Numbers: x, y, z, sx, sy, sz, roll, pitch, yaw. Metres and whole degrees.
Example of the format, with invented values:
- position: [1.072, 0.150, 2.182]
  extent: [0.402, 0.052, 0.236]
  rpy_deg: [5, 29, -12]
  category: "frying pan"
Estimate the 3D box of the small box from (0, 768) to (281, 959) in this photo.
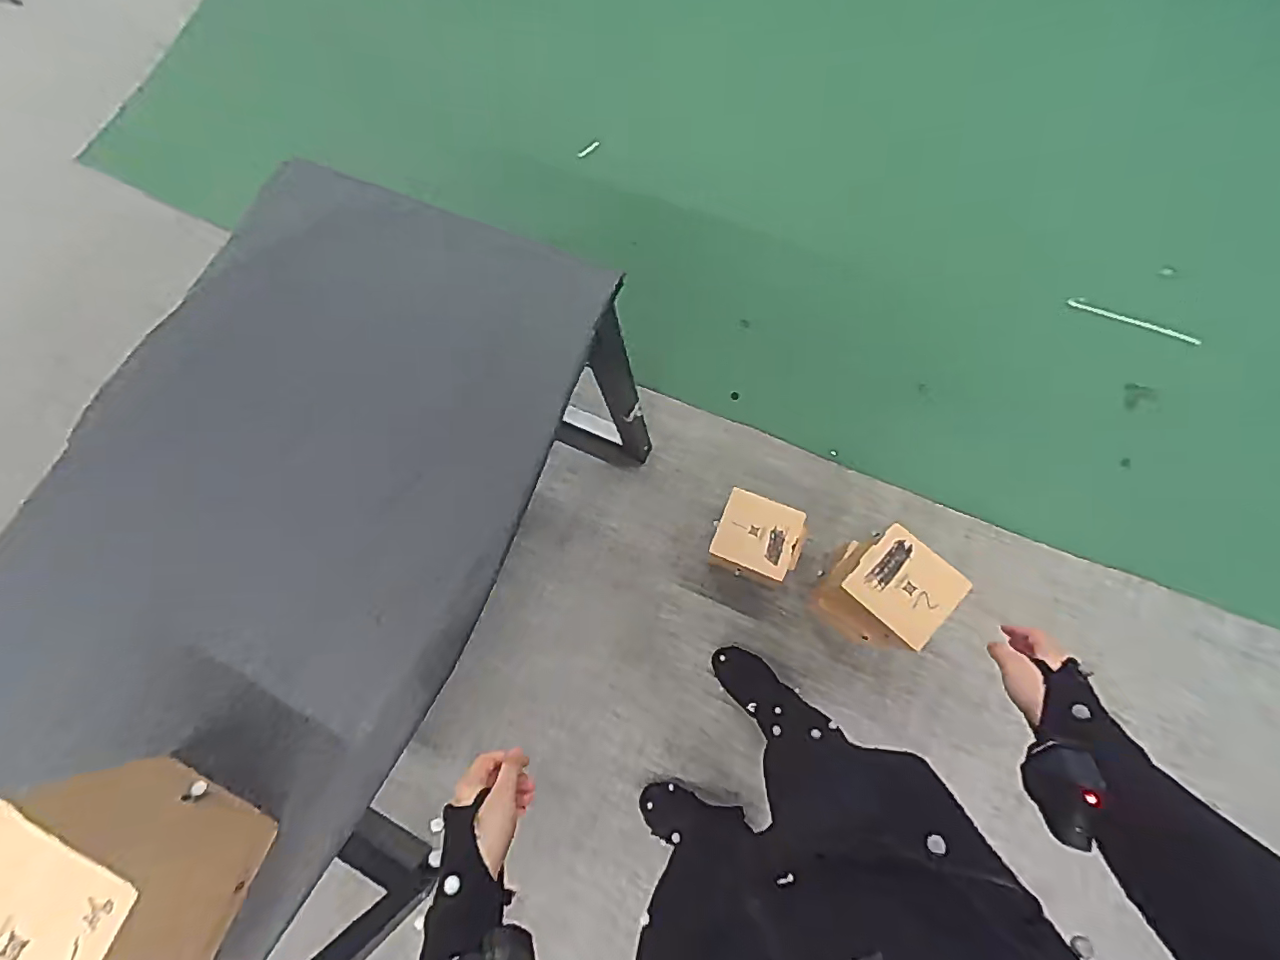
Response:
- position: [-0.518, 0.412, 0.535]
  extent: [0.179, 0.176, 0.168]
  rpy_deg: [21, 78, 11]
  category: "small box"

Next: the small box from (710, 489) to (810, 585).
- position: [0.277, 0.142, 1.278]
  extent: [0.179, 0.176, 0.168]
  rpy_deg: [22, 78, 12]
  category: "small box"

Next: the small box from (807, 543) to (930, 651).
- position: [0.506, 0.262, 1.220]
  extent: [0.179, 0.176, 0.168]
  rpy_deg: [32, 81, 13]
  category: "small box"
